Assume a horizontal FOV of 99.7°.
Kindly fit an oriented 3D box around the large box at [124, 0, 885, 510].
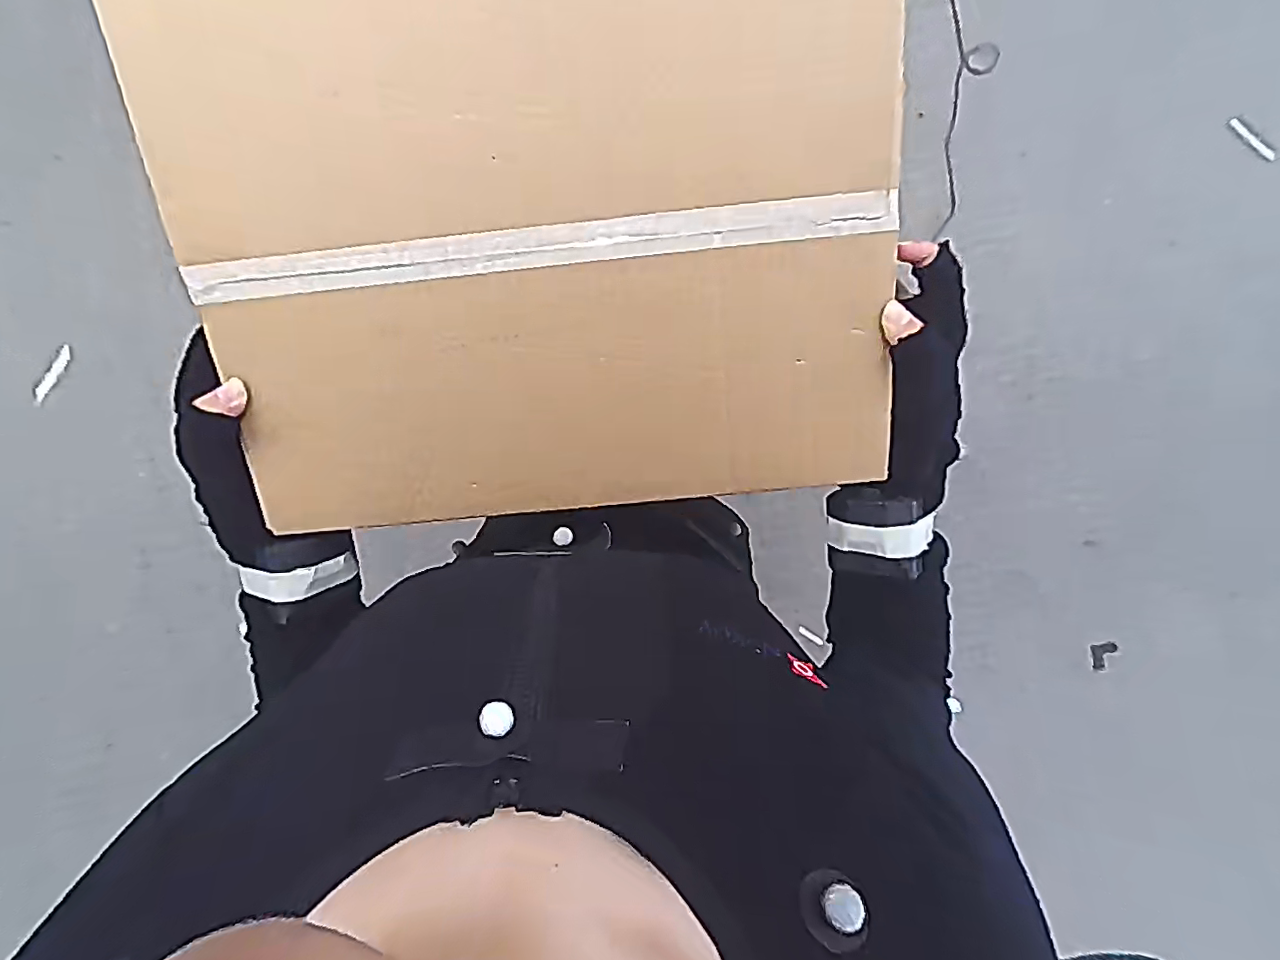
[{"bbox_3d":[-0.062,-0.188,0.458,0.408,0.320,0.320,-5,108,1],"label":"large box"}]
